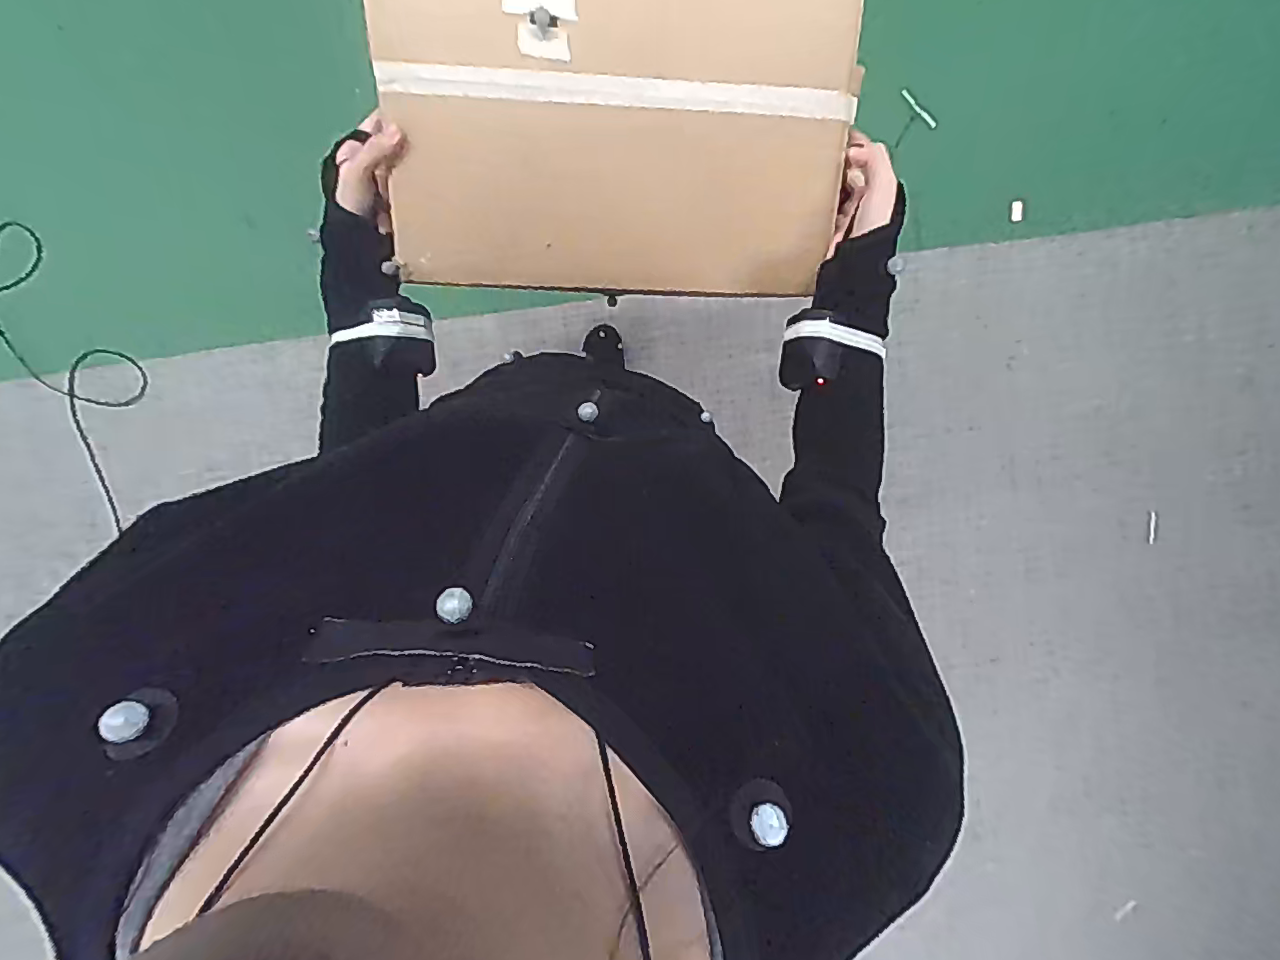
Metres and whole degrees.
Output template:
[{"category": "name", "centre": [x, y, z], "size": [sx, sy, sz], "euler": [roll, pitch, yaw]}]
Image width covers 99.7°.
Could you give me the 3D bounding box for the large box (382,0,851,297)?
[{"category": "large box", "centre": [-0.028, -0.381, 0.620], "size": [0.408, 0.320, 0.320], "euler": [1, 108, -5]}]
